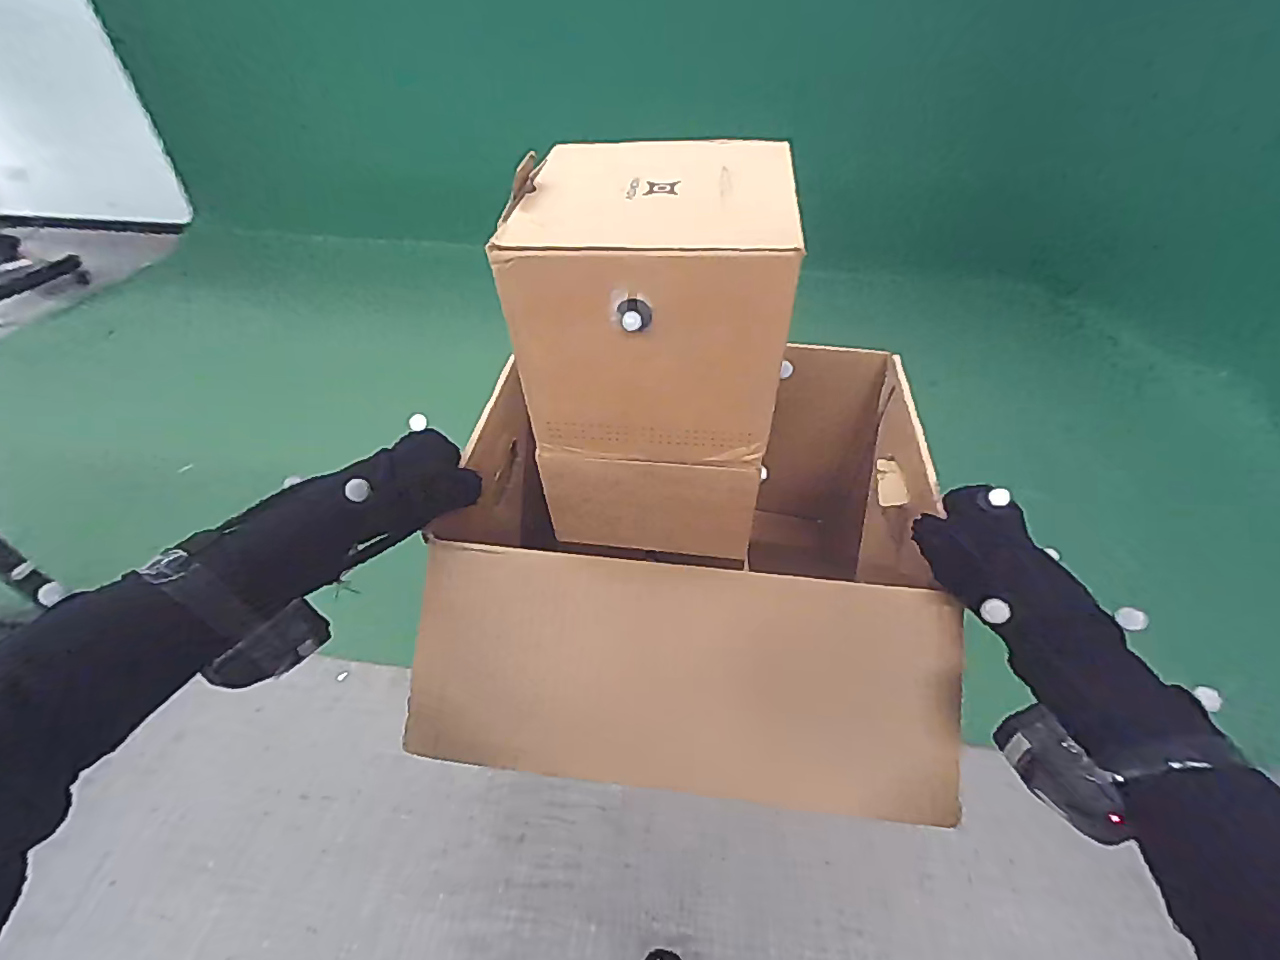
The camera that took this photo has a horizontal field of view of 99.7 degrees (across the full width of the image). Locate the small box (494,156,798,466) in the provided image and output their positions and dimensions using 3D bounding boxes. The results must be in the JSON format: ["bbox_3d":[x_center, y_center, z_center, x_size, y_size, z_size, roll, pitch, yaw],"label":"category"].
[{"bbox_3d":[0.012,-0.126,0.413,0.179,0.176,0.168,3,49,5],"label":"small box"}]
